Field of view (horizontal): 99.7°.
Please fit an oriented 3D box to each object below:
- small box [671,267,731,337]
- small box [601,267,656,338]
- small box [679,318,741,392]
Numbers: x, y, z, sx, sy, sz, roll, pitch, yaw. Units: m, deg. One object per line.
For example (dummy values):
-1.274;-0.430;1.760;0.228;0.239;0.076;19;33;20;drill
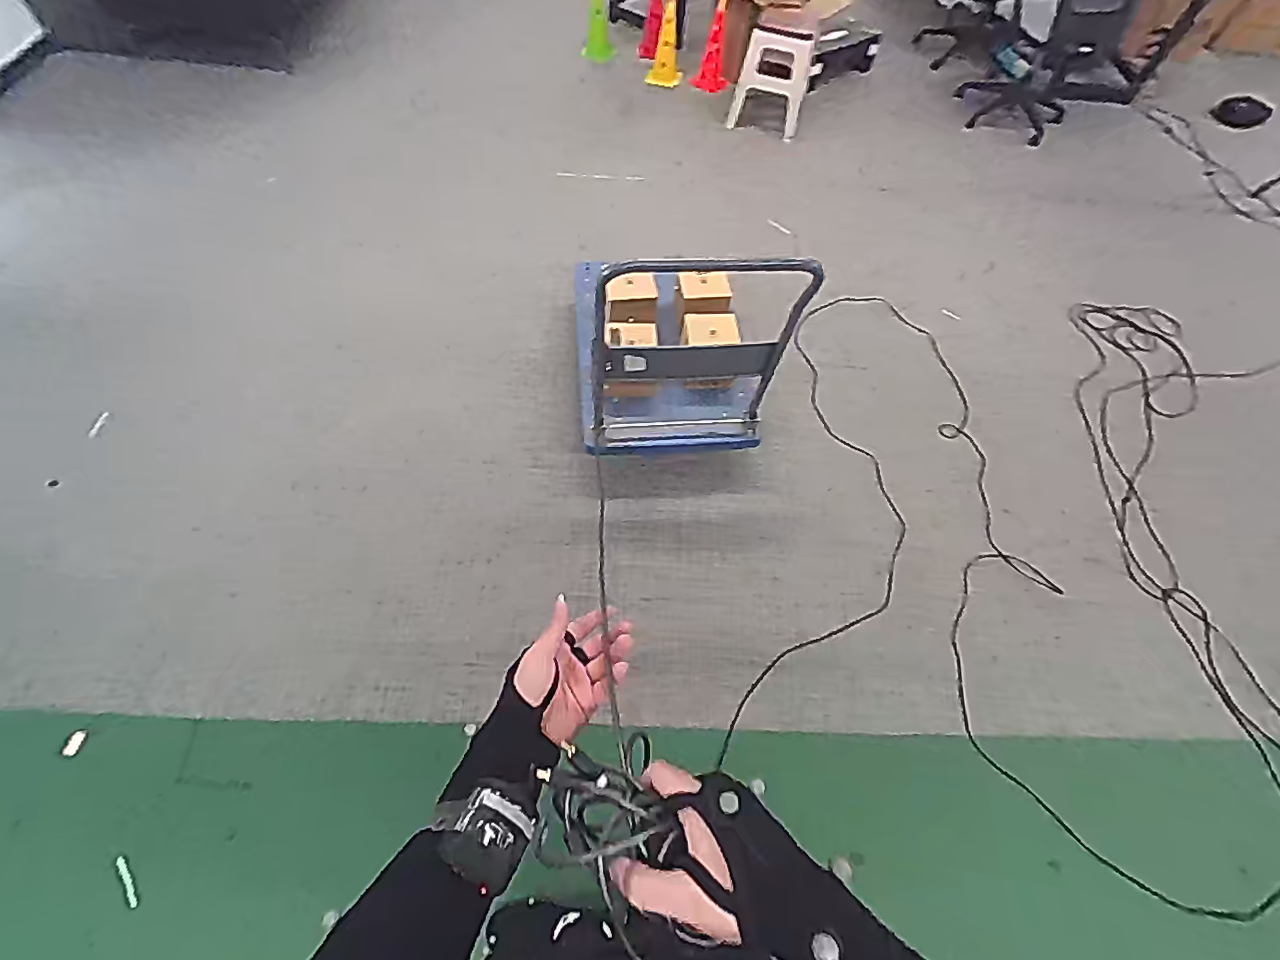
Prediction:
0.209;-0.626;1.910;0.168;0.176;0.179;-5;61;-6;small box
-0.044;-0.612;1.884;0.168;0.176;0.179;-6;60;-8;small box
0.225;-0.411;1.787;0.168;0.176;0.179;-1;60;-5;small box
